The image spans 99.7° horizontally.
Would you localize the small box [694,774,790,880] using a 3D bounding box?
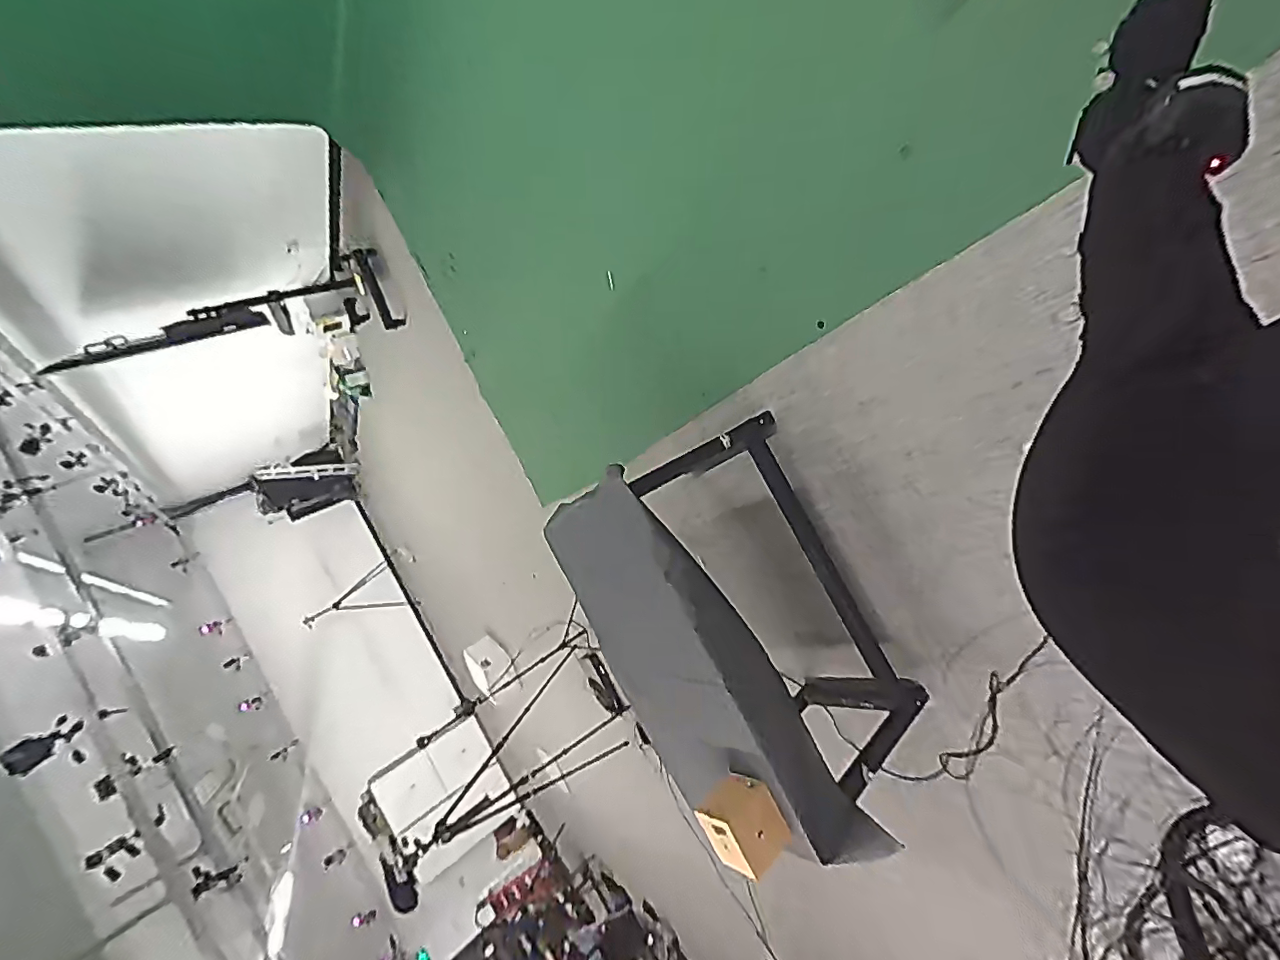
[{"bbox_3d":[0.295,0.991,1.564,0.179,0.176,0.168,61,147,1],"label":"small box"}]
